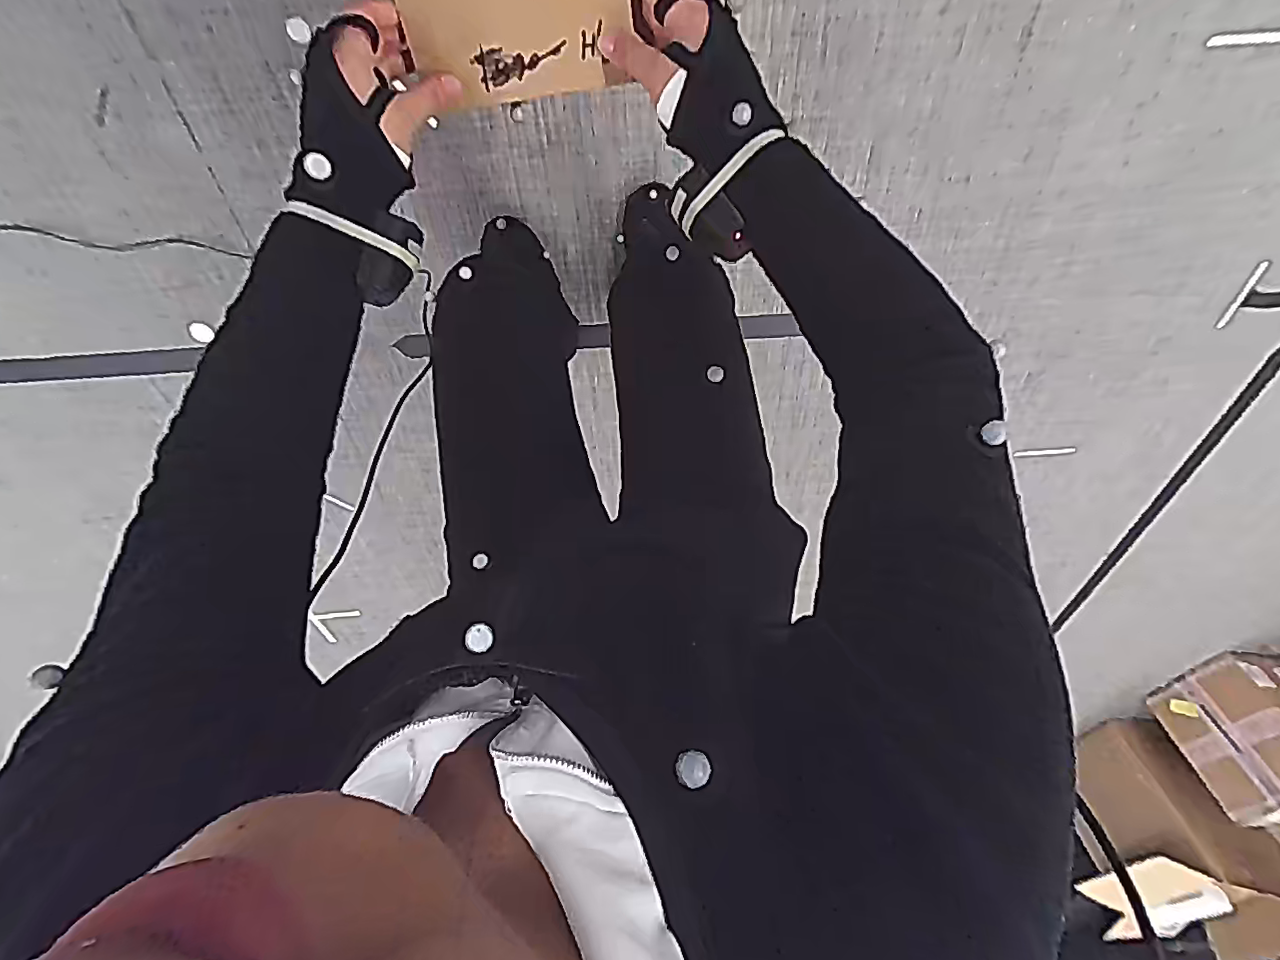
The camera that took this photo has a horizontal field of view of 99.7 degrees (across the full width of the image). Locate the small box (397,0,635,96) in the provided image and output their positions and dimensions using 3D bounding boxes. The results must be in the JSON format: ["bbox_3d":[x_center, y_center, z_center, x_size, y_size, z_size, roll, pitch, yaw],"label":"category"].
[{"bbox_3d":[-0.098,-0.419,0.427,0.168,0.176,0.179,-7,127,2],"label":"small box"}]
